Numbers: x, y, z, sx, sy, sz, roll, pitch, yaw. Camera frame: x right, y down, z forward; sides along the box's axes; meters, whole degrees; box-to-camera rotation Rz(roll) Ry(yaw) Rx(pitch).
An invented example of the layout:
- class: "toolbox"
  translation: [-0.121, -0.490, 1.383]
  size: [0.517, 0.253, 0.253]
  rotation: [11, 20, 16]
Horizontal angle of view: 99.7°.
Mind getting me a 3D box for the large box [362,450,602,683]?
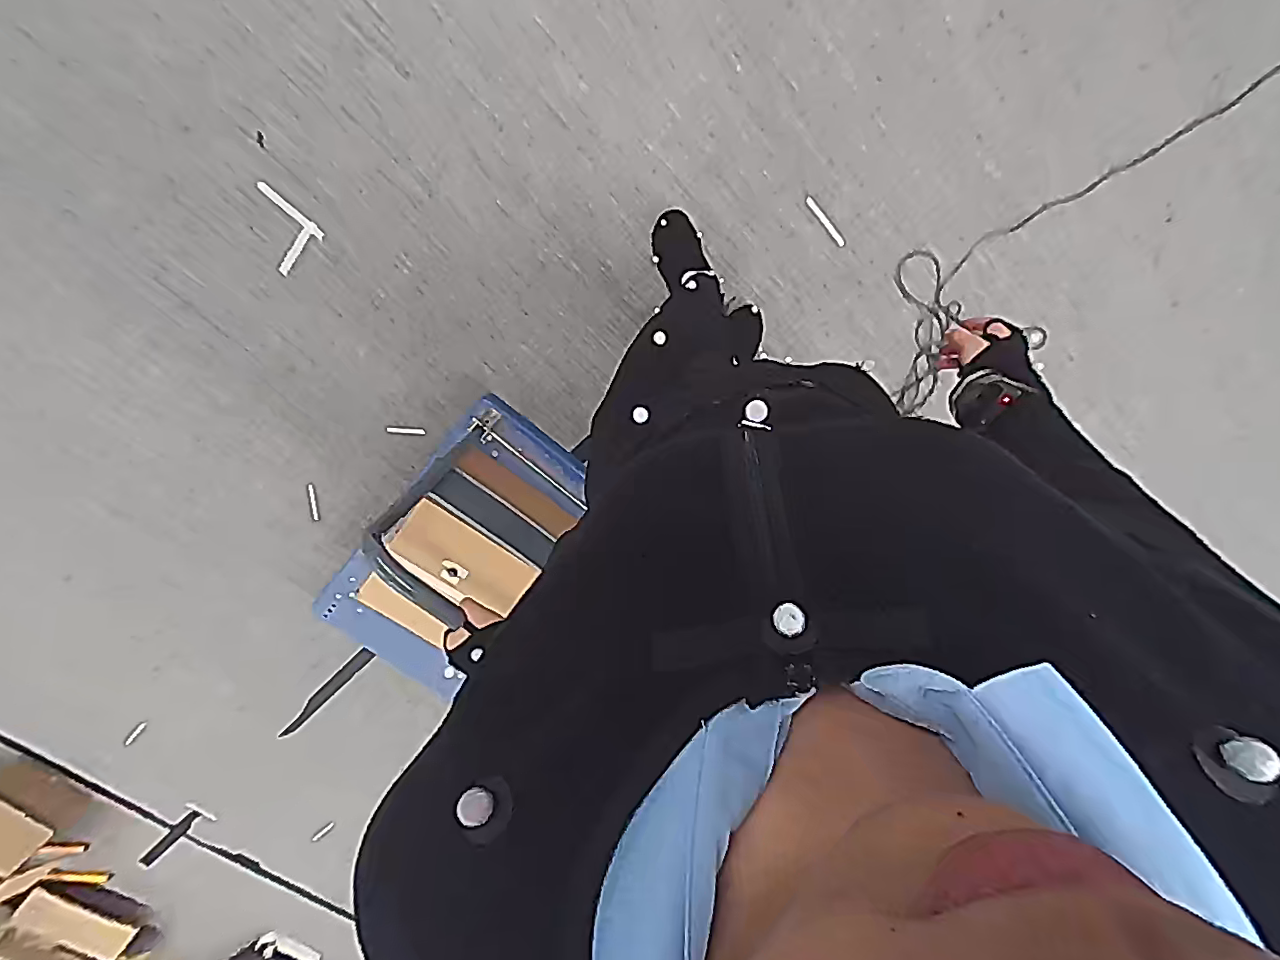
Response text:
- class: "large box"
  translation: [-0.351, 0.197, 1.302]
  size: [0.408, 0.320, 0.320]
  rotation: [37, 109, -12]
